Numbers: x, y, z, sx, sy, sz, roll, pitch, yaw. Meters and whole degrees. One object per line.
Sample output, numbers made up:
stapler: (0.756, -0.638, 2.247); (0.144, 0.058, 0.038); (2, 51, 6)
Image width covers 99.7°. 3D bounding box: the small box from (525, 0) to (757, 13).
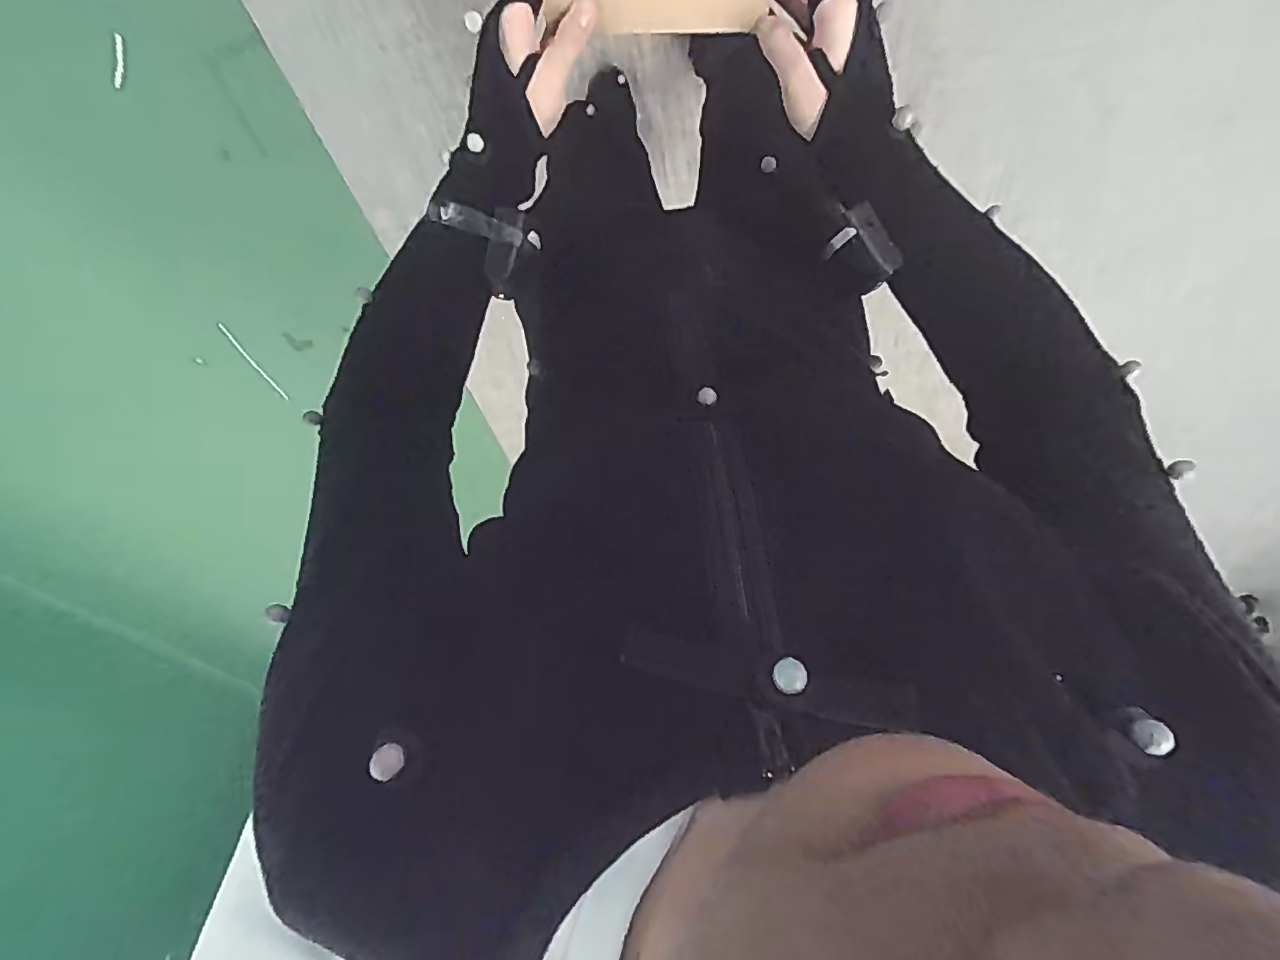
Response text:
small box: (0.003, -0.466, 0.382); (0.179, 0.176, 0.168); (1, 147, 0)
